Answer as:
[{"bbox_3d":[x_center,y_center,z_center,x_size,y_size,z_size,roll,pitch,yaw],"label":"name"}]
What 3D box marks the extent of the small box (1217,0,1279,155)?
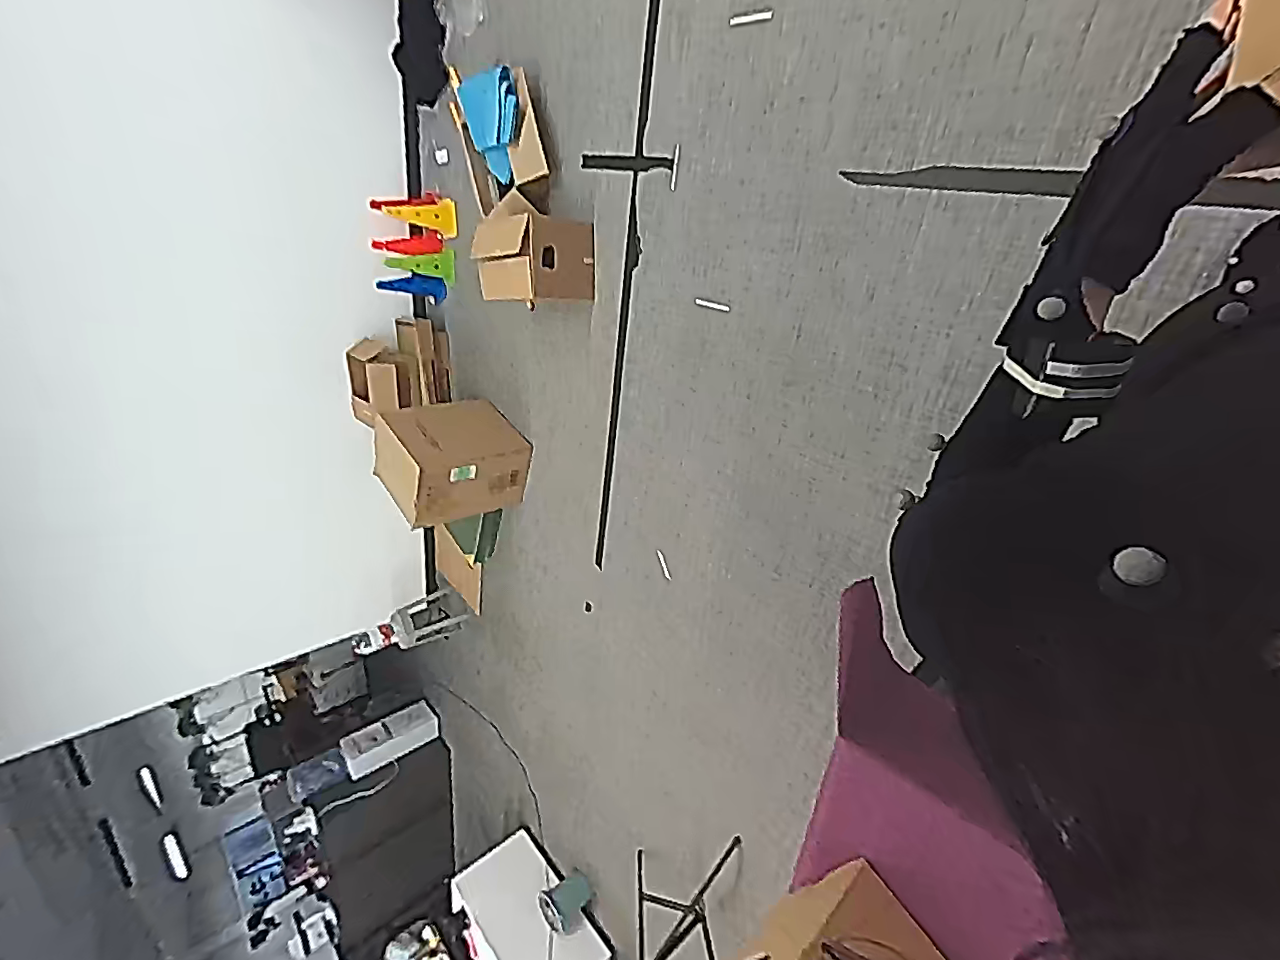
[{"bbox_3d":[0.446,-0.301,0.284,0.179,0.176,0.168,10,106,45],"label":"small box"}]
